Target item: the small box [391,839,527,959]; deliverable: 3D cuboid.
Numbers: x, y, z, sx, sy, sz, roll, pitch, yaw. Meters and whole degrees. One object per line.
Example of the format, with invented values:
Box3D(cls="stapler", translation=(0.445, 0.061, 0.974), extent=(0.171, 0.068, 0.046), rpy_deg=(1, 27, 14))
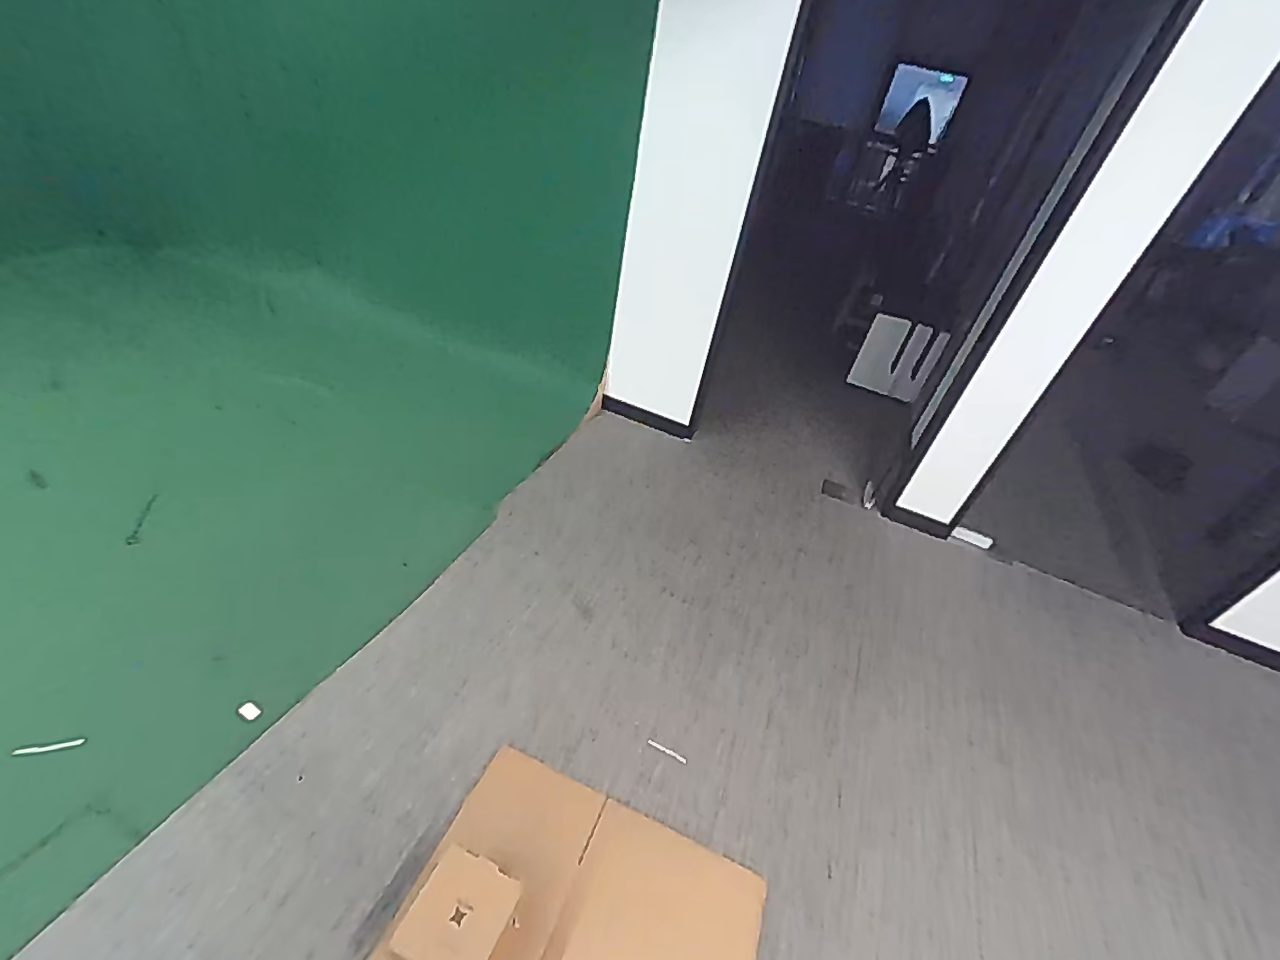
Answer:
Box3D(cls="small box", translation=(-0.328, 0.822, 1.002), extent=(0.168, 0.176, 0.179), rpy_deg=(21, 39, 12))
